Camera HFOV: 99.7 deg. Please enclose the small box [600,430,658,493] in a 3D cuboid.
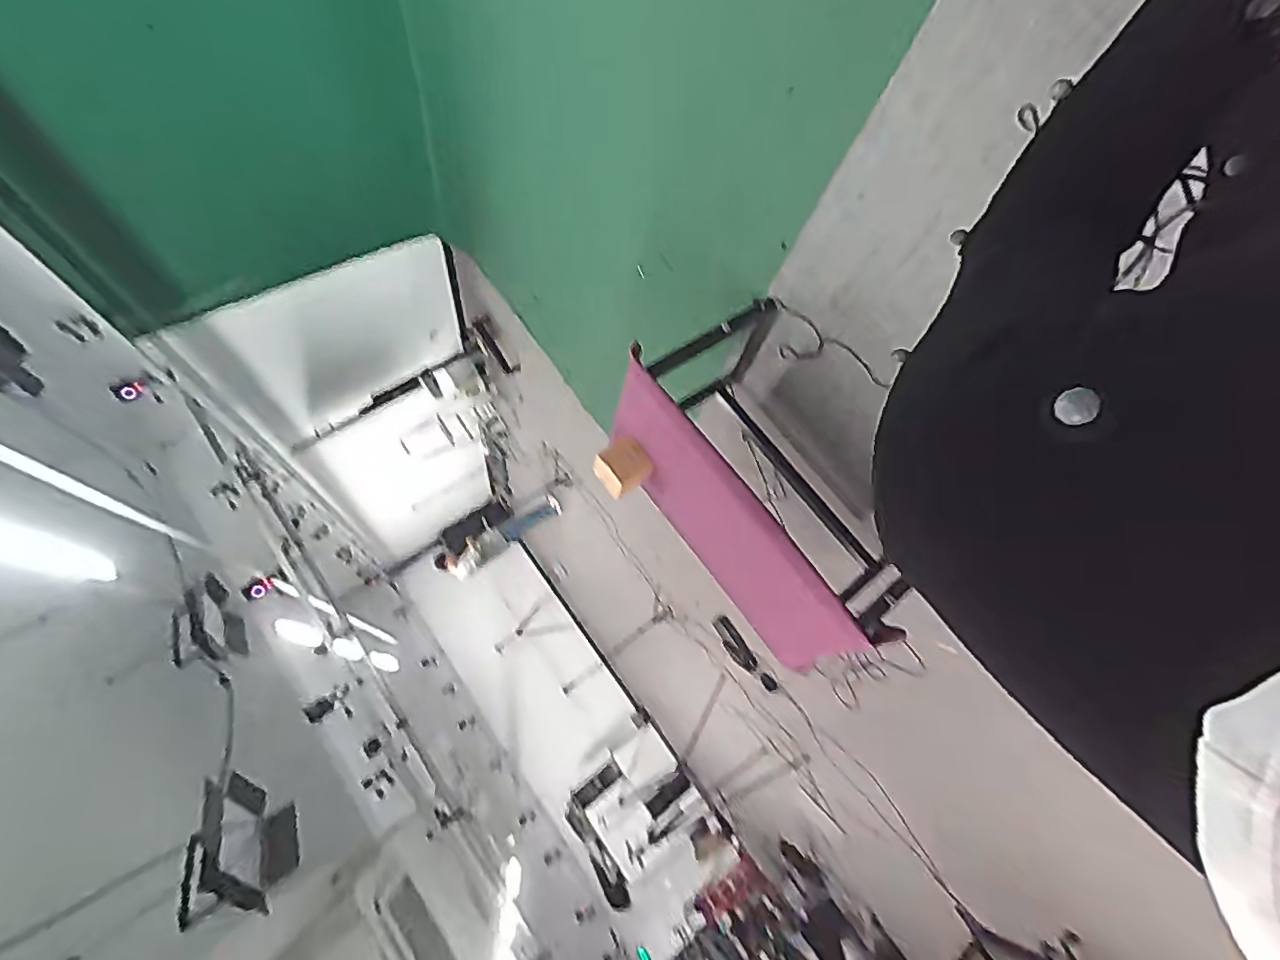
[{"bbox_3d":[-0.045,-0.081,2.261,0.168,0.176,0.179,52,158,12],"label":"small box"}]
